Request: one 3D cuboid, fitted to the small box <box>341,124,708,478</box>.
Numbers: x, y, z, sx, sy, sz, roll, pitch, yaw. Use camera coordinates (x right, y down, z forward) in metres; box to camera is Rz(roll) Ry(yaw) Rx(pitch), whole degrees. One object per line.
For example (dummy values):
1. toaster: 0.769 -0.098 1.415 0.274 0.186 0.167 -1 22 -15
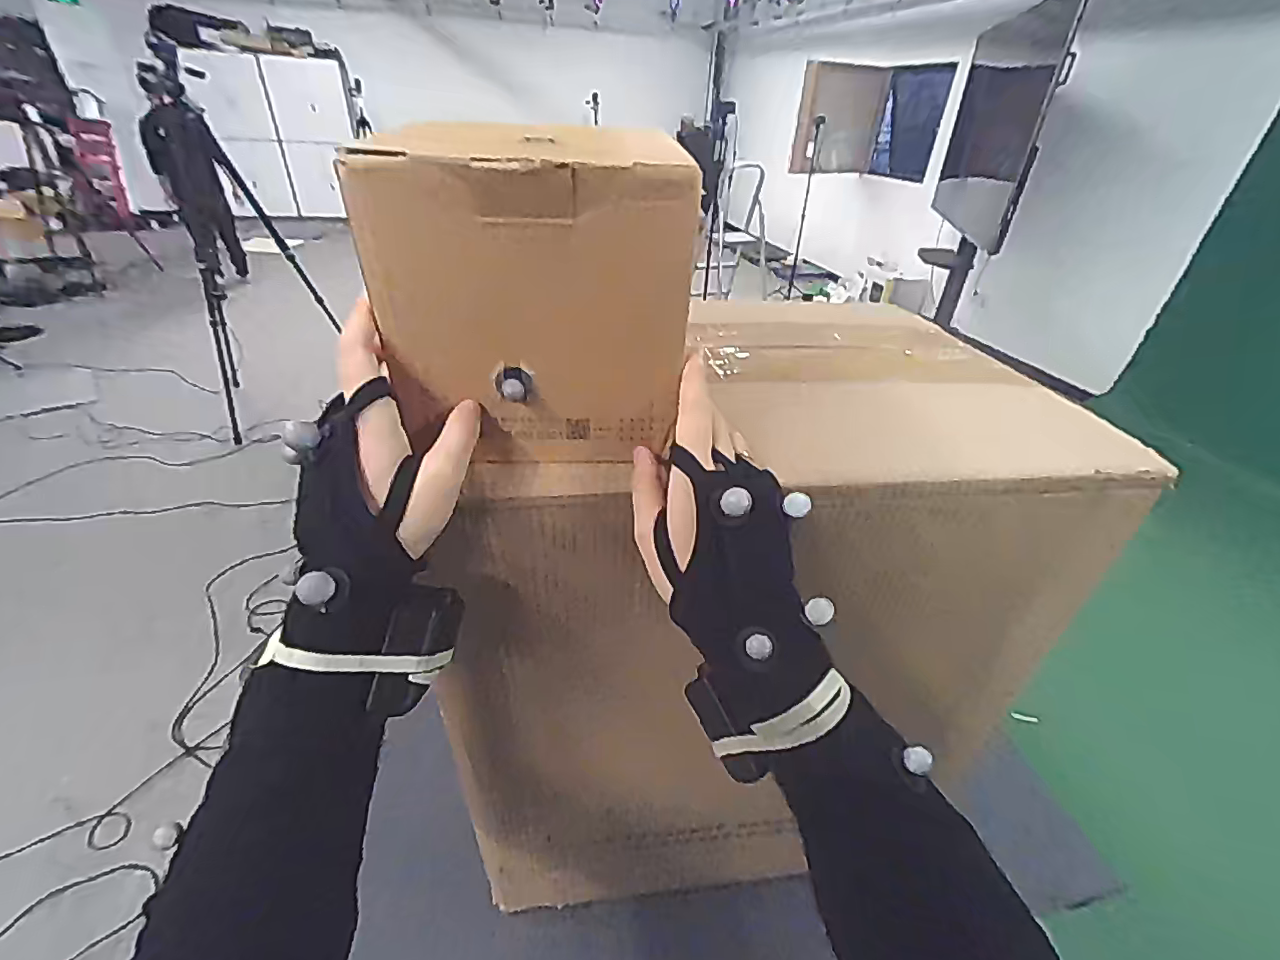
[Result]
1. small box: -0.059 -0.119 0.353 0.168 0.176 0.179 0 39 -5
